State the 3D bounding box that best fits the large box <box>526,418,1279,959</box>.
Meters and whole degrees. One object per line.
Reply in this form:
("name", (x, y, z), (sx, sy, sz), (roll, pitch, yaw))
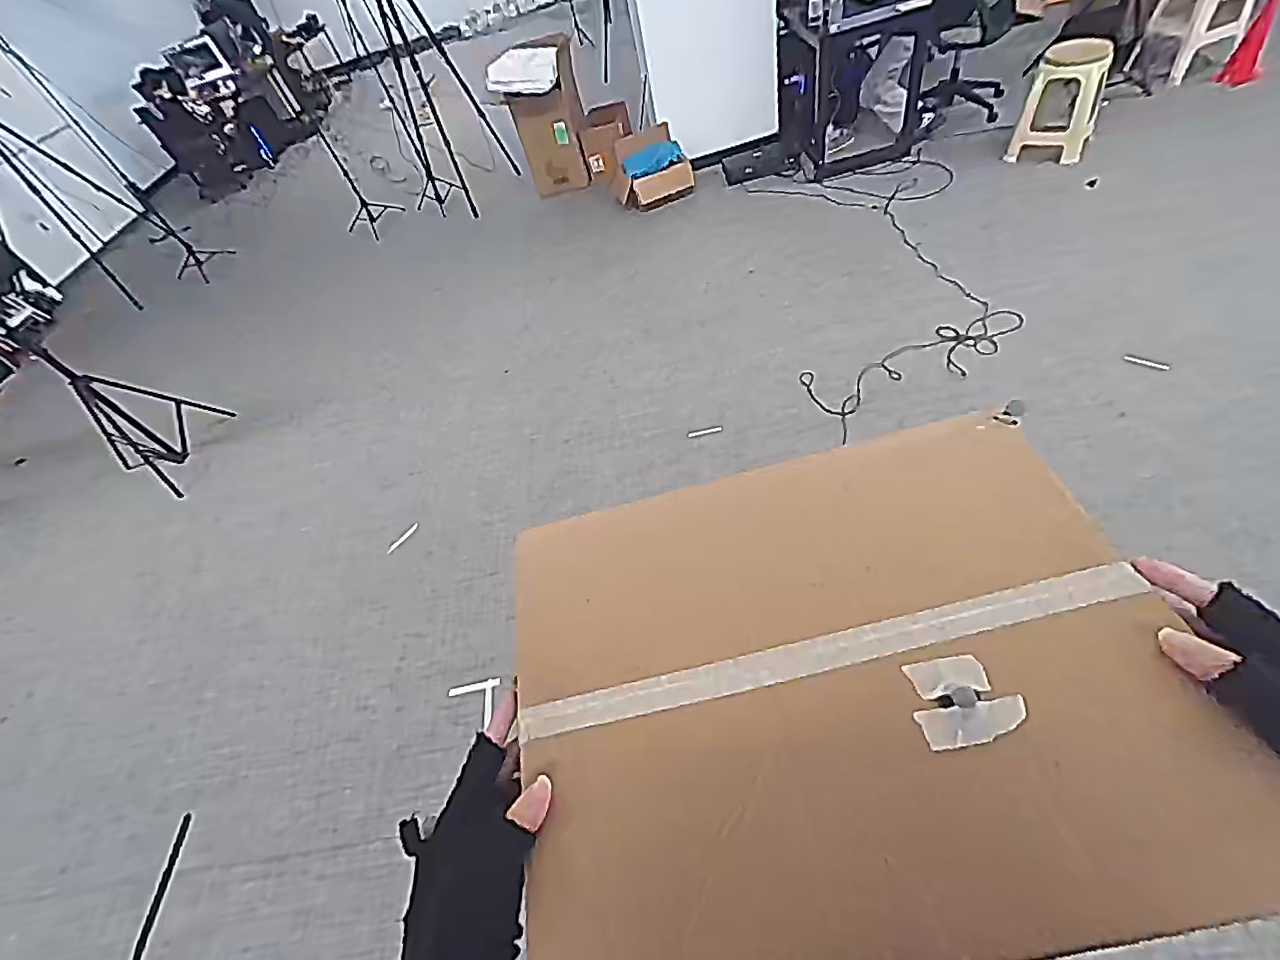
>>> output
("large box", (0.147, 0.204, 0.480), (0.408, 0.320, 0.320), (-15, 53, 3))
